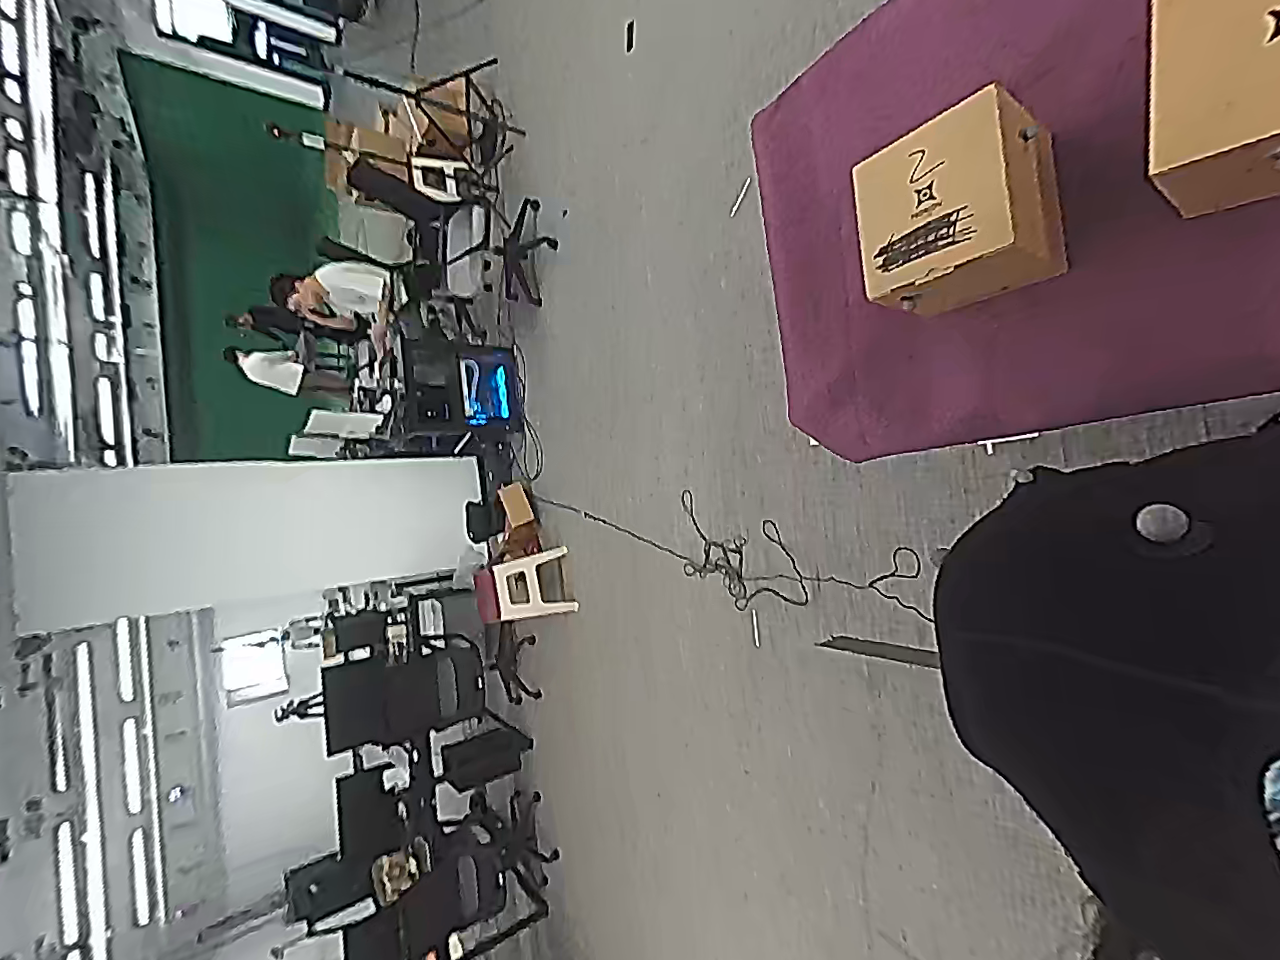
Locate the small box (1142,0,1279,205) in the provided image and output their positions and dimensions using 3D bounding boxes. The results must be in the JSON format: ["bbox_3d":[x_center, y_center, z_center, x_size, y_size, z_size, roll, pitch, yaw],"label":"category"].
[{"bbox_3d":[0.550,-0.351,0.441,0.179,0.176,0.168,3,97,53],"label":"small box"}]
